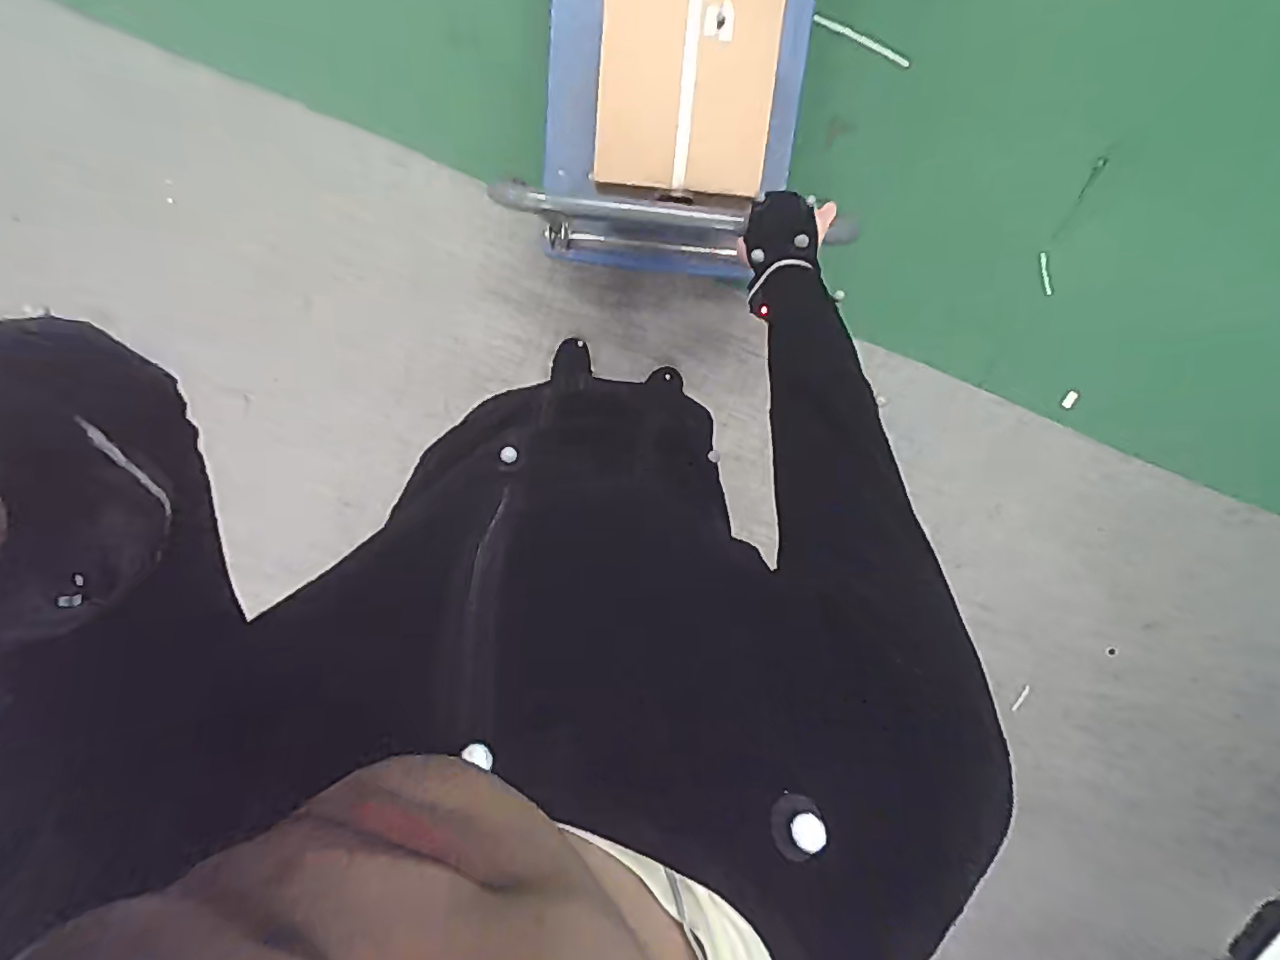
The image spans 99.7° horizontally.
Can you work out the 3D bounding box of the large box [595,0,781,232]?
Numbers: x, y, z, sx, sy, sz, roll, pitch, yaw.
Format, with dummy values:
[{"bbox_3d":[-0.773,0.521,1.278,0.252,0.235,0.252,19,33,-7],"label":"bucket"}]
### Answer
[{"bbox_3d":[0.085,-0.763,1.116,0.320,0.320,0.408,5,104,-2],"label":"large box"}]
